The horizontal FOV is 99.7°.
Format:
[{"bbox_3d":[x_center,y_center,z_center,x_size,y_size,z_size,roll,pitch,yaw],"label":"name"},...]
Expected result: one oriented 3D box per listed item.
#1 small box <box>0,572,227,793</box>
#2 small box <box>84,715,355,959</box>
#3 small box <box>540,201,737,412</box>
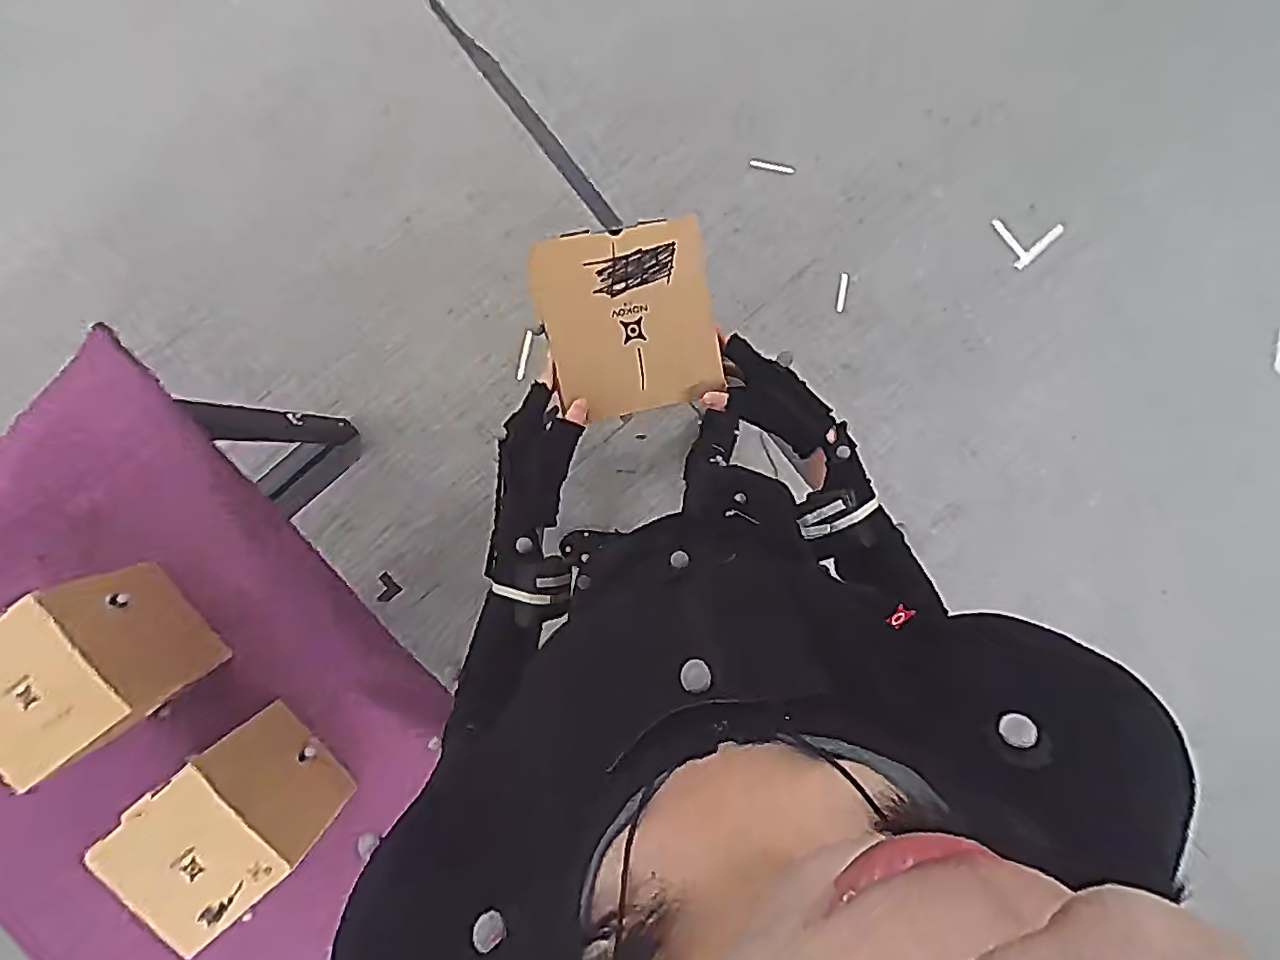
[{"bbox_3d":[-0.692,0.234,0.681,0.168,0.176,0.179,-36,95,1],"label":"small box"},{"bbox_3d":[-0.519,0.435,0.697,0.168,0.176,0.179,-41,93,0],"label":"small box"},{"bbox_3d":[-0.011,-0.174,0.585,0.168,0.176,0.179,-12,102,-9],"label":"small box"}]
